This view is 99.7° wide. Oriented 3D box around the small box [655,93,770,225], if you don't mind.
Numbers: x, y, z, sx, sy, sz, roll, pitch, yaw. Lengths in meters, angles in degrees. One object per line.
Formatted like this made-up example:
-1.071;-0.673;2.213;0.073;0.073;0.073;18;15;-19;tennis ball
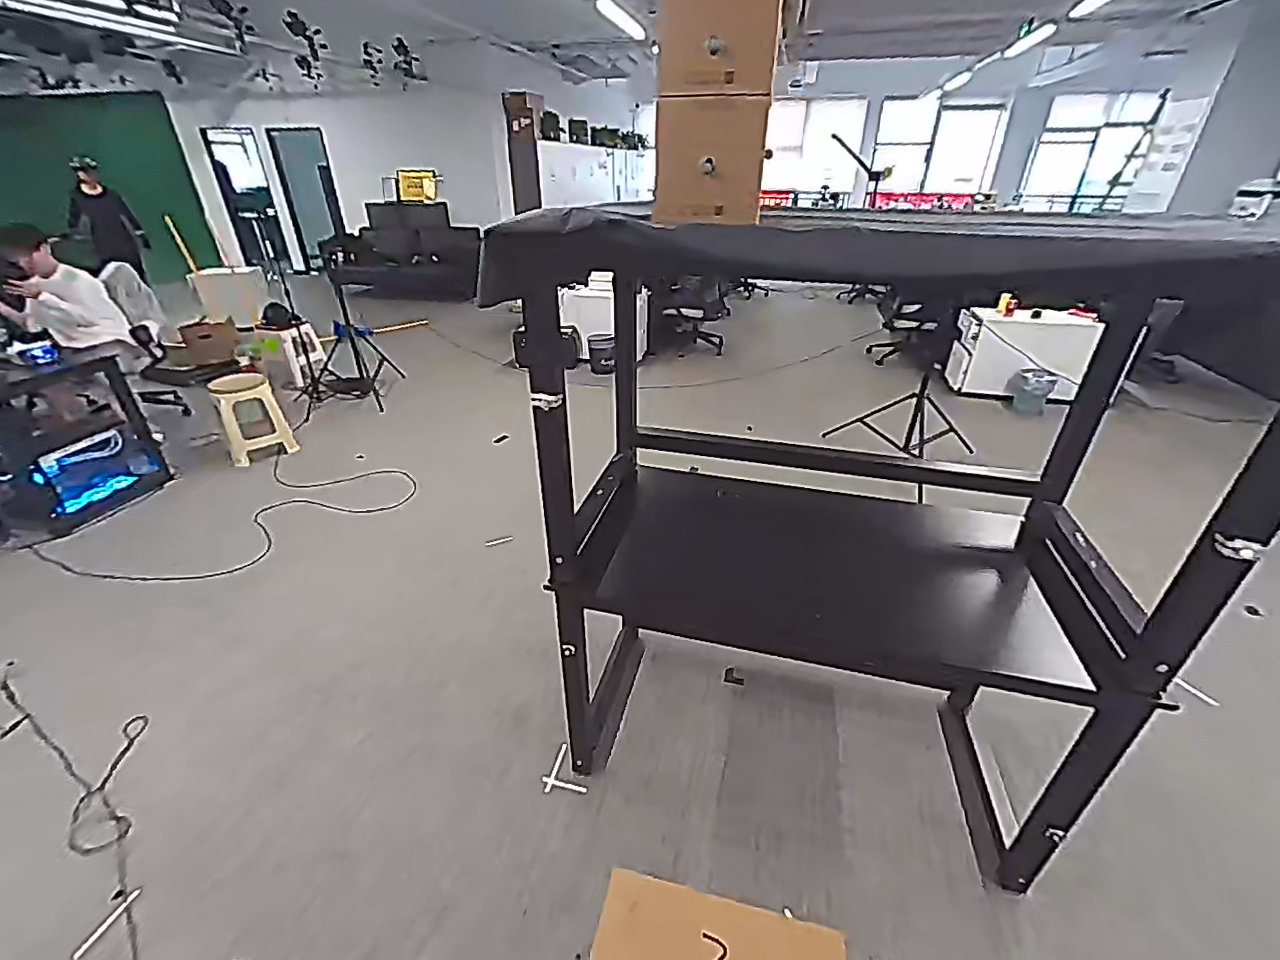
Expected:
0.118;-0.509;0.871;0.168;0.176;0.179;6;29;9;small box

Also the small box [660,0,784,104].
0.122;-0.655;0.794;0.168;0.176;0.179;5;29;10;small box
